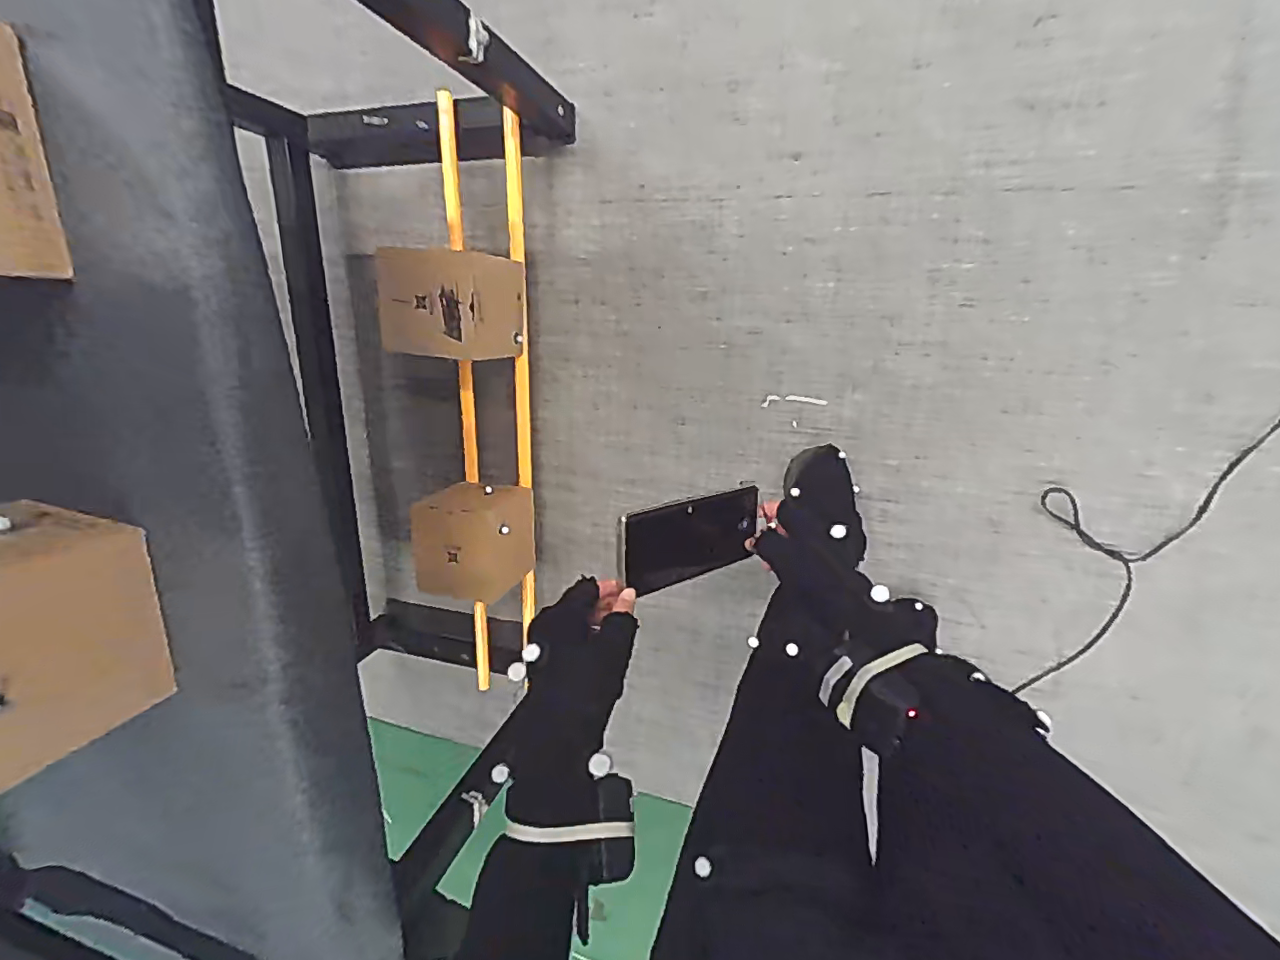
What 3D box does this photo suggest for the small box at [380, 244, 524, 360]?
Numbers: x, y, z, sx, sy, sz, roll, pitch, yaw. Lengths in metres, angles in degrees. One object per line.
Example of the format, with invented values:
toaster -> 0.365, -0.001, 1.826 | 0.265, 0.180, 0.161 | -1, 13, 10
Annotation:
small box -> -0.314, -0.305, 0.934 | 0.179, 0.176, 0.168 | 10, 108, 14

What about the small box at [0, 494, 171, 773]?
small box -> -0.545, 0.128, 0.454 | 0.168, 0.176, 0.179 | 9, 108, 15
